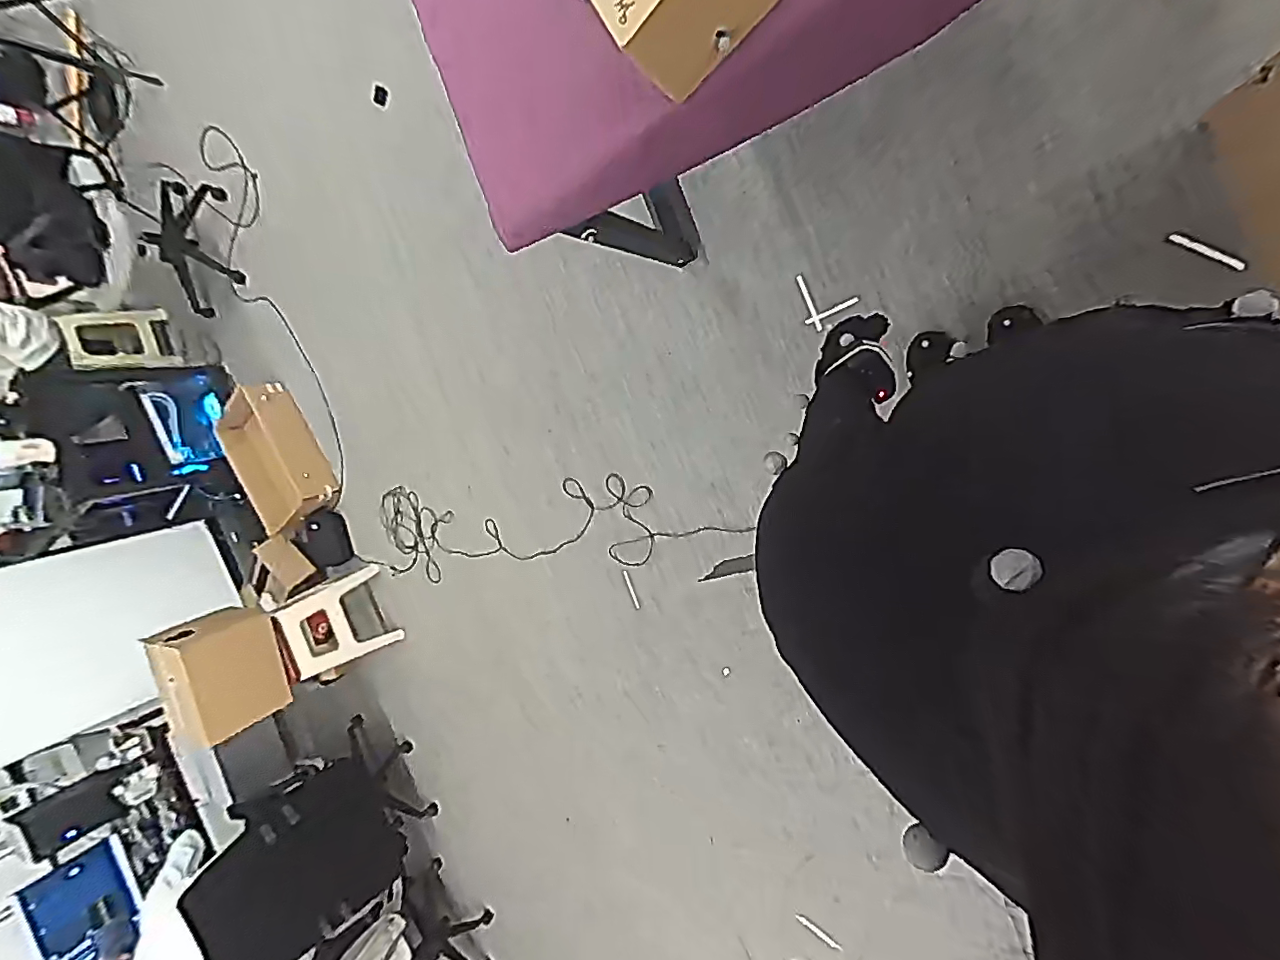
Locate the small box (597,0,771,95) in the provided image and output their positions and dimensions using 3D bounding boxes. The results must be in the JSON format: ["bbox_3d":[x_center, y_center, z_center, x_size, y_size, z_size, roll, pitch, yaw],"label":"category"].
[{"bbox_3d":[0.042,-0.615,0.637,0.179,0.176,0.168,-32,85,31],"label":"small box"}]
